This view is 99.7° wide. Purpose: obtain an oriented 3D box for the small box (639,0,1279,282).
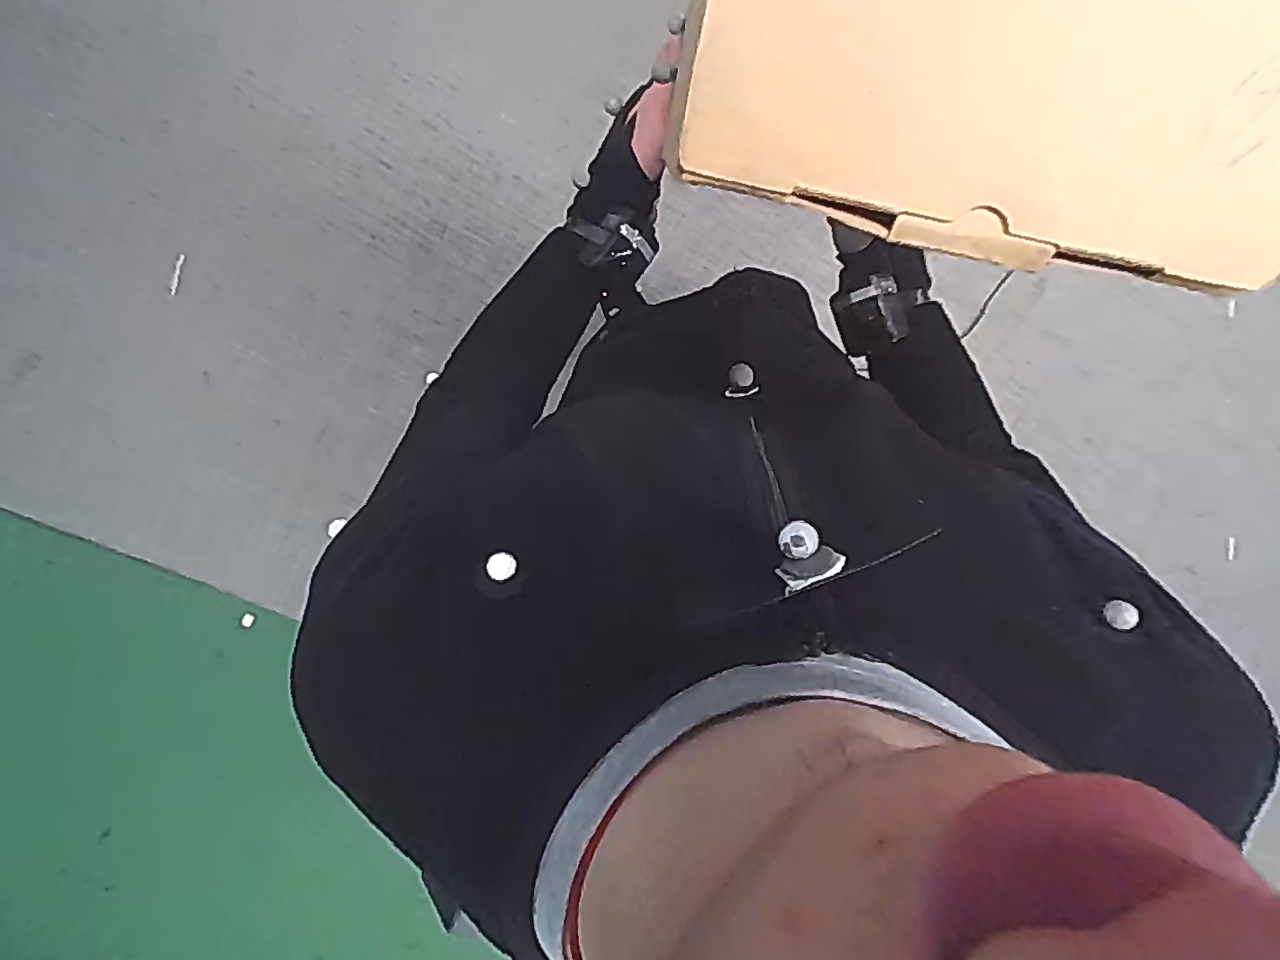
[{"bbox_3d":[0.098,-0.181,0.156,0.168,0.176,0.179,9,124,-5],"label":"small box"}]
